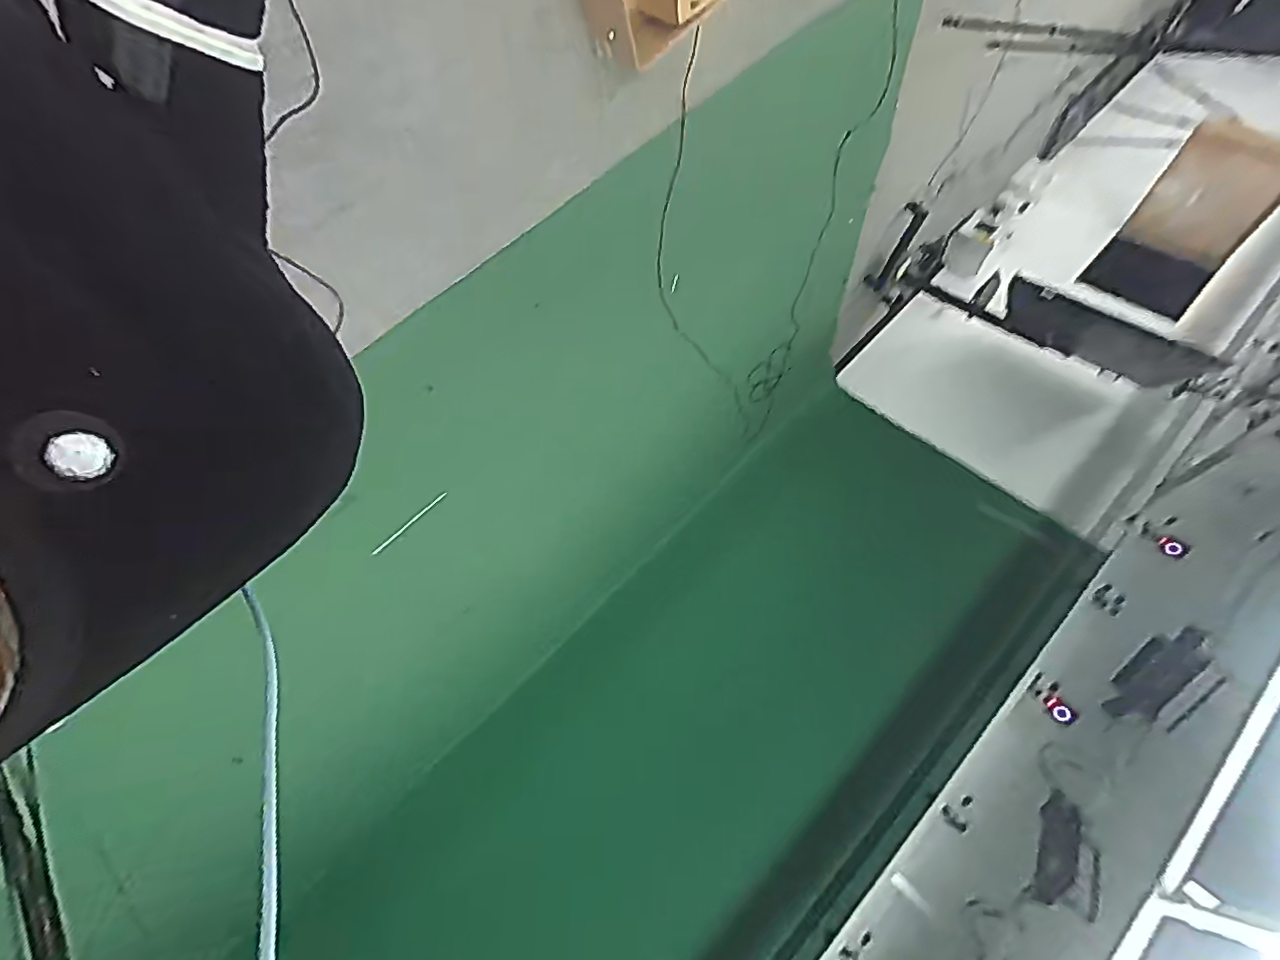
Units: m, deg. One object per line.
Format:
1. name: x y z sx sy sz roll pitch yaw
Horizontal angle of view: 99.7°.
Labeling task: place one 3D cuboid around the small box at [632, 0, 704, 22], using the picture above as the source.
1. small box: 0.076 -1.382 1.446 0.168 0.176 0.179 -44 154 -12
